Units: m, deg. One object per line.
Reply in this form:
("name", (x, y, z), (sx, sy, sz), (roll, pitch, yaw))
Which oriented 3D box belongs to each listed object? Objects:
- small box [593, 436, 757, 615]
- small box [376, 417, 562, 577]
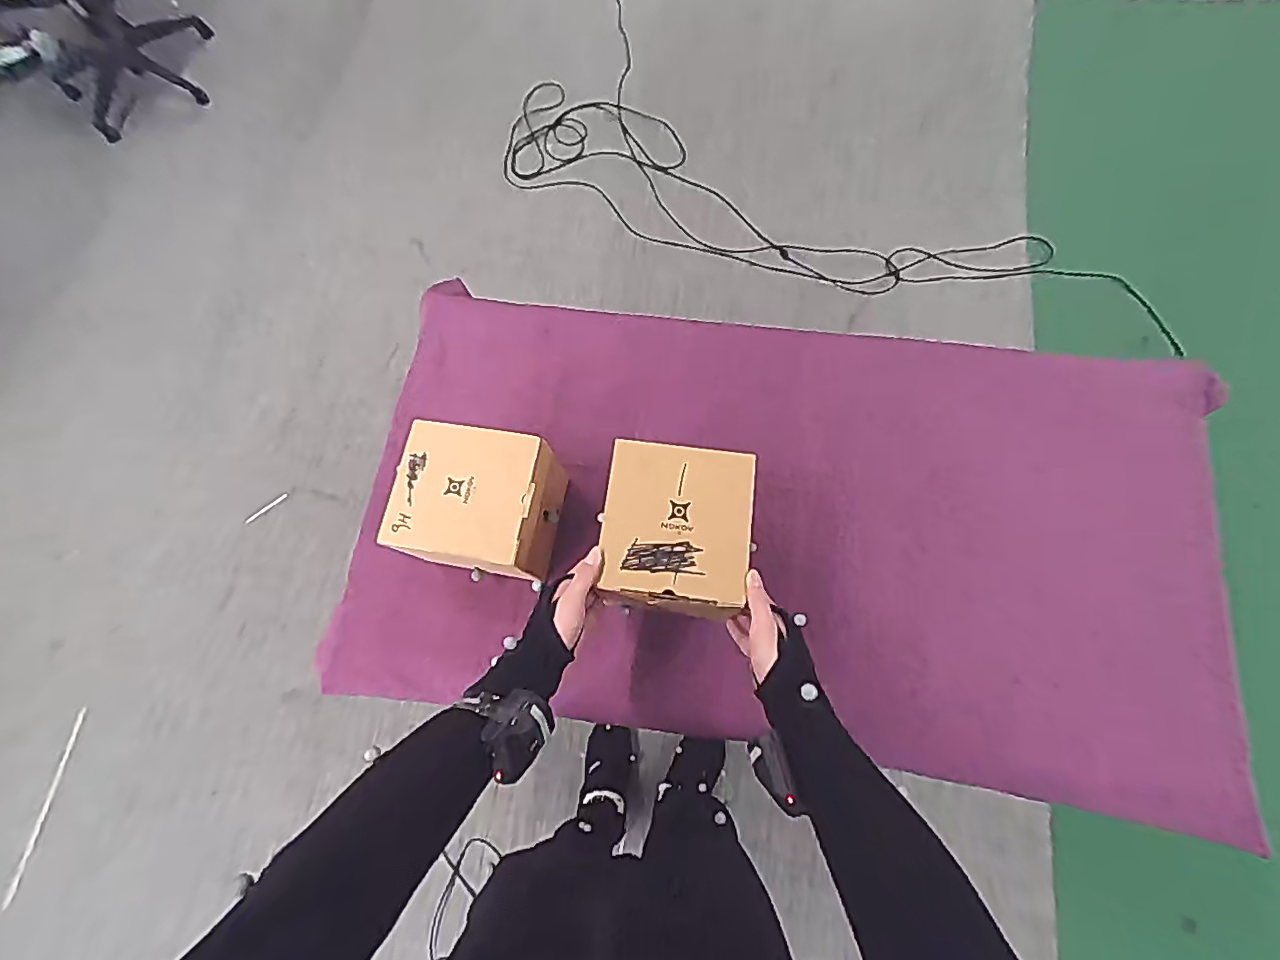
("small box", (0.043, 0.066, 0.669), (0.168, 0.176, 0.179), (7, 71, 2))
("small box", (-0.213, 0.033, 0.734), (0.179, 0.176, 0.168), (9, 74, 5))
